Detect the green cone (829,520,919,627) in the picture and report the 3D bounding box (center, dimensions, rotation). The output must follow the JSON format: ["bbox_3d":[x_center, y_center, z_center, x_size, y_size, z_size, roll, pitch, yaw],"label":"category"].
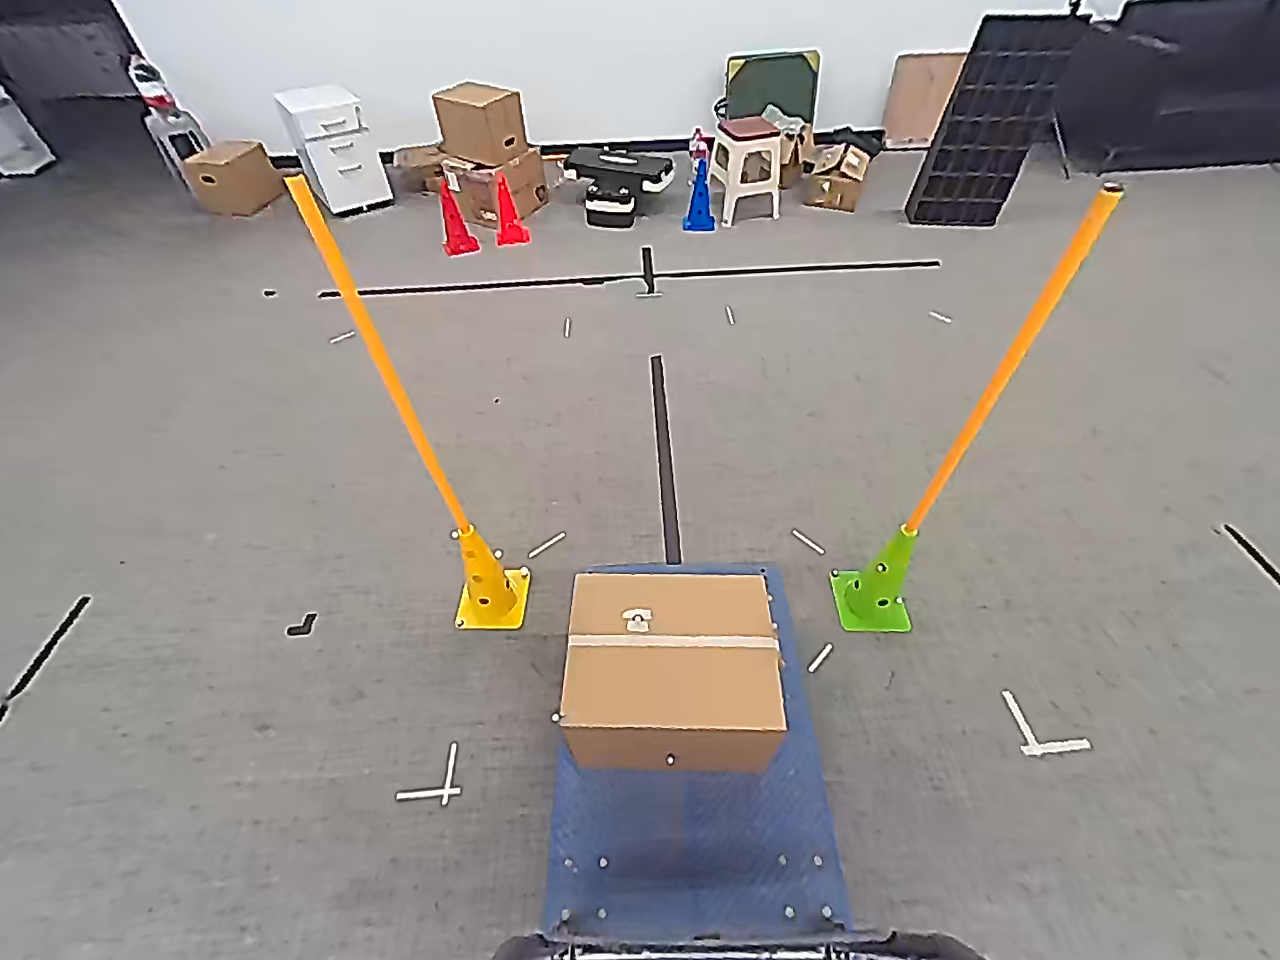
[{"bbox_3d":[0.685,0.239,1.506,0.202,0.368,0.200,1,49,1],"label":"green cone"}]

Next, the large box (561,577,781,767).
[{"bbox_3d":[0.064,0.424,1.176,0.408,0.320,0.320,0,49,3],"label":"large box"}]
